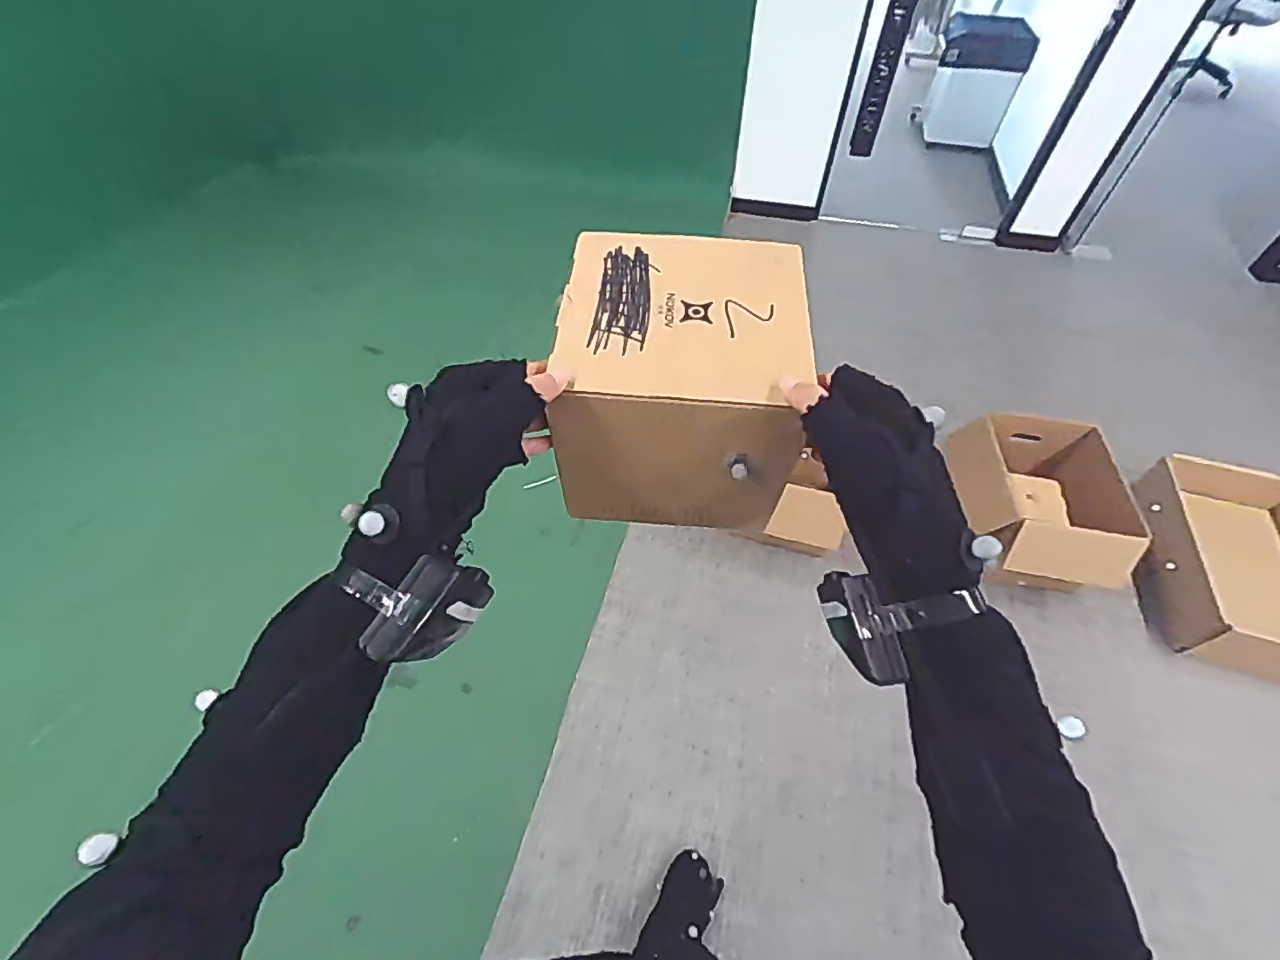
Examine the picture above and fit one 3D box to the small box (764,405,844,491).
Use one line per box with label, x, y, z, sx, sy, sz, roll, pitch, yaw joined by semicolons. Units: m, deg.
small box;0.486;-0.091;1.615;0.179;0.176;0.168;17;52;11
